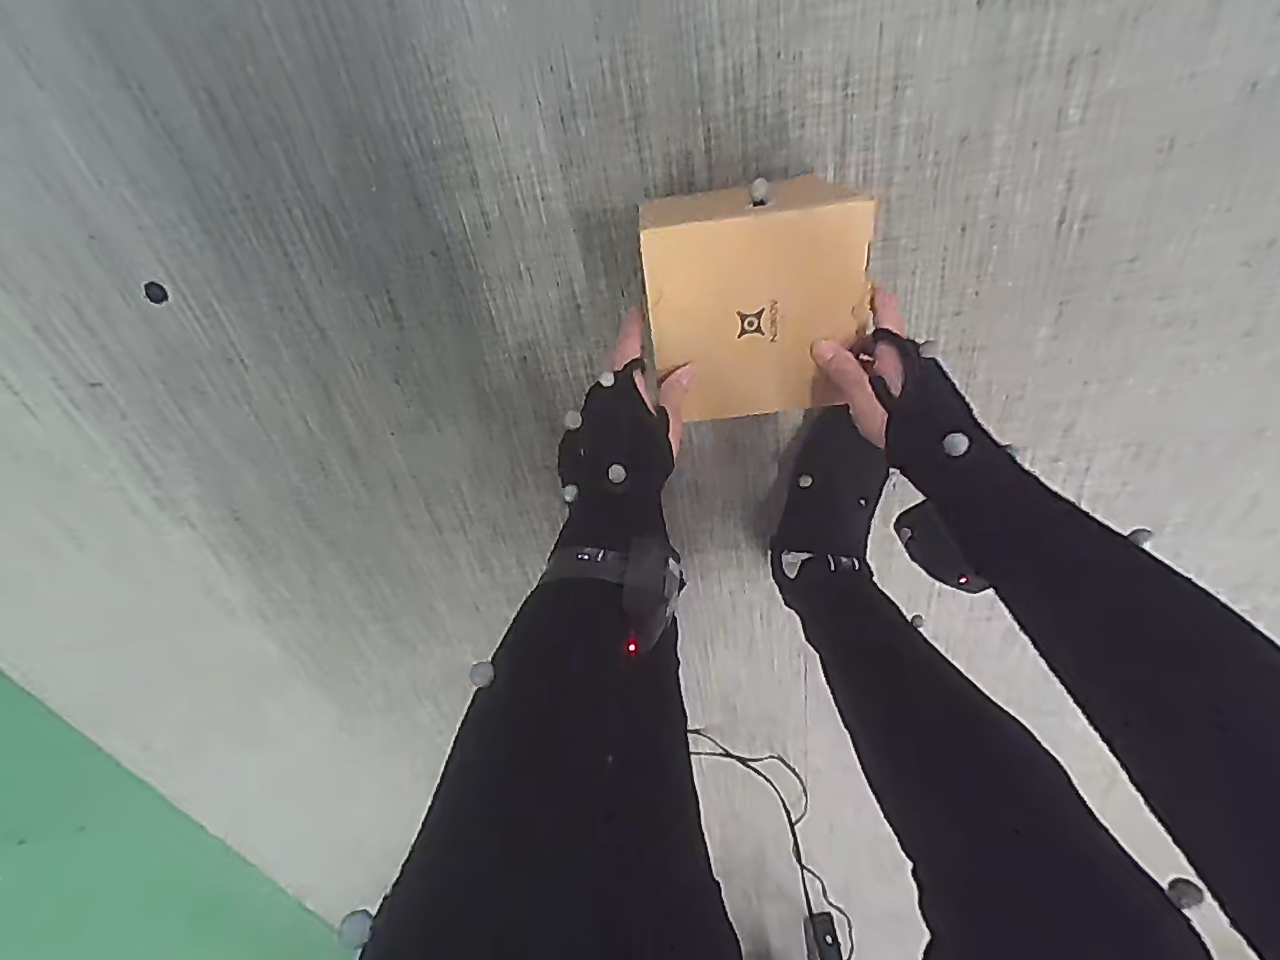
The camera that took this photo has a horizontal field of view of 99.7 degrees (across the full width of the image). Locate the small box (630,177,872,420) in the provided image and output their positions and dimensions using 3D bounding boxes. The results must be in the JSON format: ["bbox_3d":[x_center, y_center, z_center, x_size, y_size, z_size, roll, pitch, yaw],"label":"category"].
[{"bbox_3d":[0.089,-0.172,0.496,0.179,0.176,0.168,-7,122,4],"label":"small box"}]
